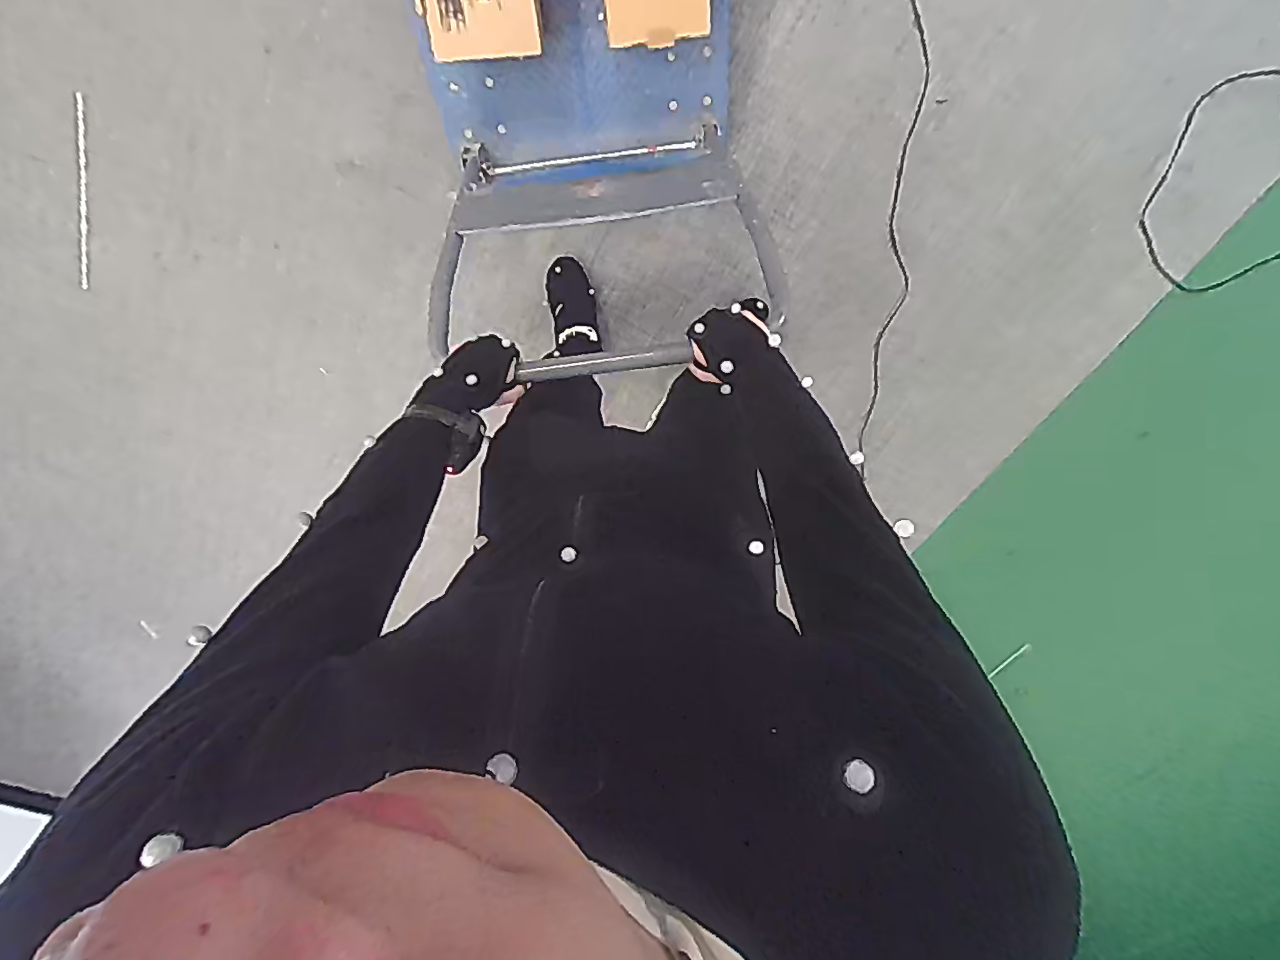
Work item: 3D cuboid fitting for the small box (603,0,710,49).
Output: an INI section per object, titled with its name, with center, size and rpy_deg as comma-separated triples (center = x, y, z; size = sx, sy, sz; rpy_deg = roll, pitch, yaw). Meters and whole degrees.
[small box]
center = 0.018, -0.831, 0.874
size = 0.168, 0.176, 0.179
rpy_deg = -8, 138, 1
